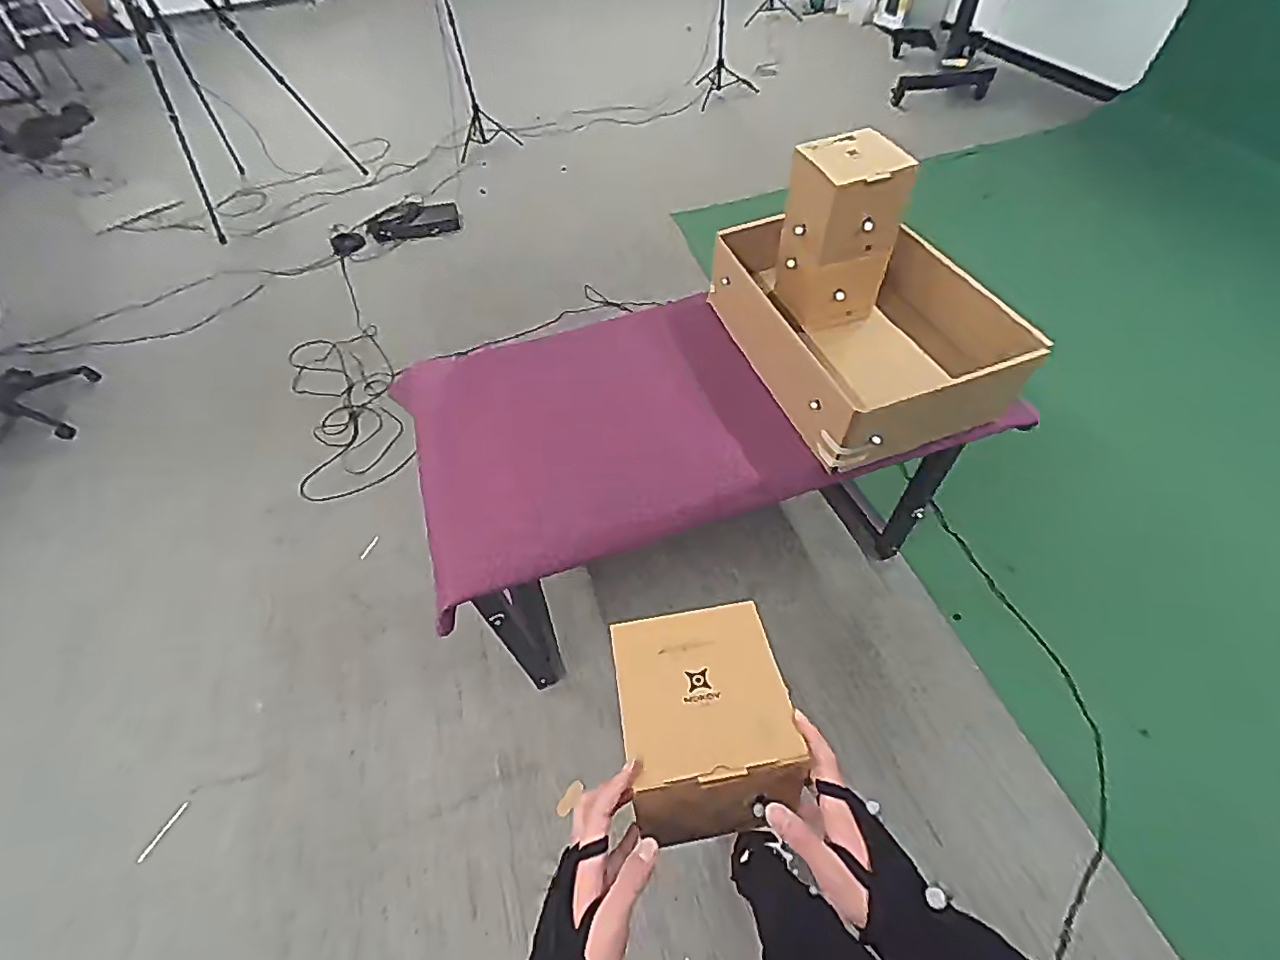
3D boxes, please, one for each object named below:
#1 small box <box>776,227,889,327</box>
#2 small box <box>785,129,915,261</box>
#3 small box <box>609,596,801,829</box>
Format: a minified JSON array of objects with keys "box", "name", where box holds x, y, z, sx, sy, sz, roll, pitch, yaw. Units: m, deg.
[{"box":[0.420,-0.464,1.212,0.168,0.176,0.179,-16,55,-5],"name":"small box"},{"box":[0.407,-0.559,1.080,0.168,0.176,0.179,-16,56,-5],"name":"small box"},{"box":[0.063,0.259,0.597,0.168,0.176,0.179,-9,41,-3],"name":"small box"}]
